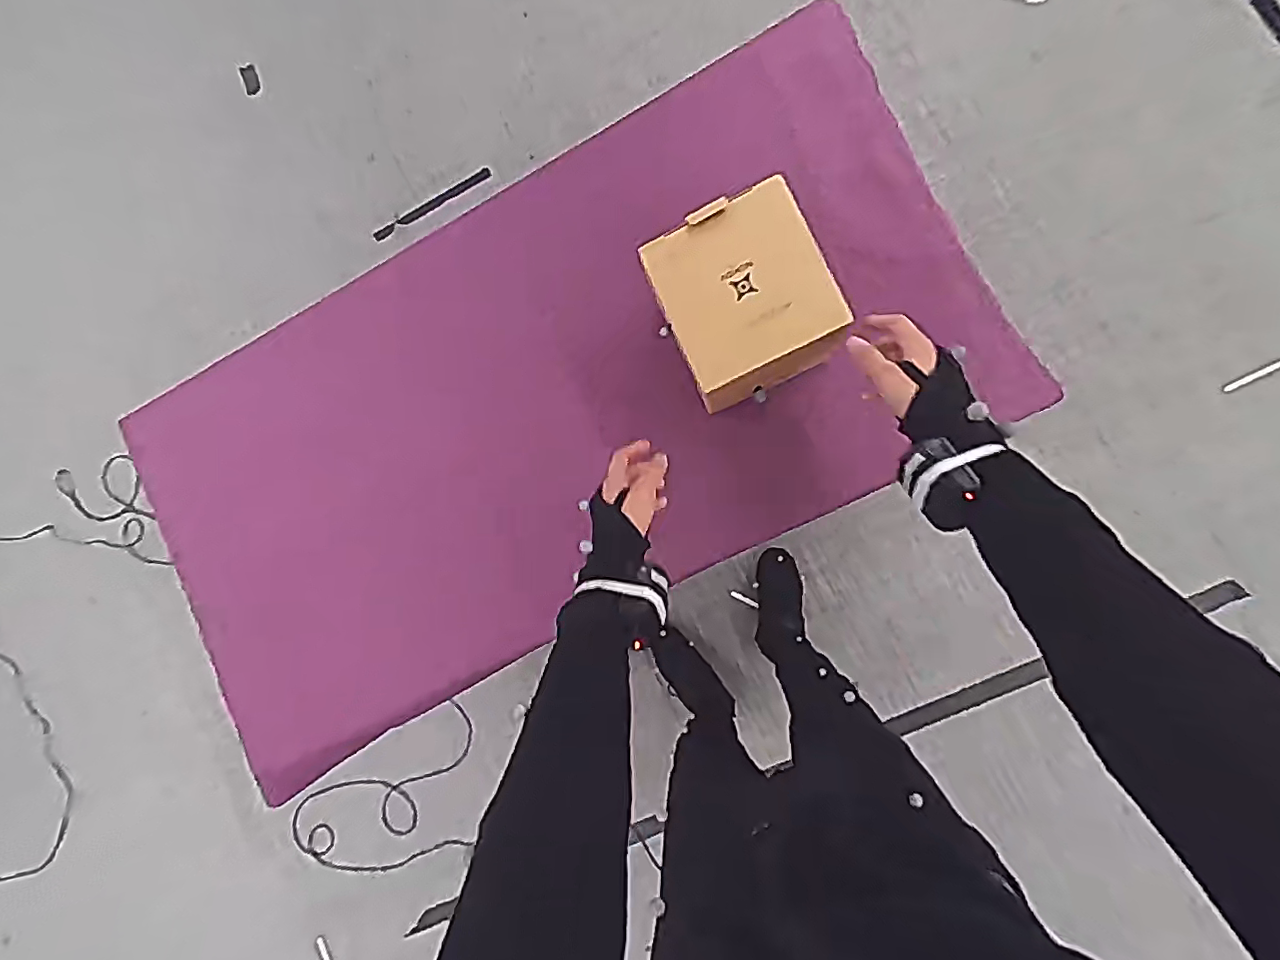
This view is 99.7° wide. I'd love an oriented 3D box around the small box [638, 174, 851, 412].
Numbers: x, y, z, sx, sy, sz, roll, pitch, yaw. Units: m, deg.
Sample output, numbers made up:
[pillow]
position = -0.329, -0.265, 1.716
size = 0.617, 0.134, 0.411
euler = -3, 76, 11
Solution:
[small box]
position = 0.115, -0.198, 0.627
size = 0.168, 0.176, 0.179
euler = -25, 85, 9
